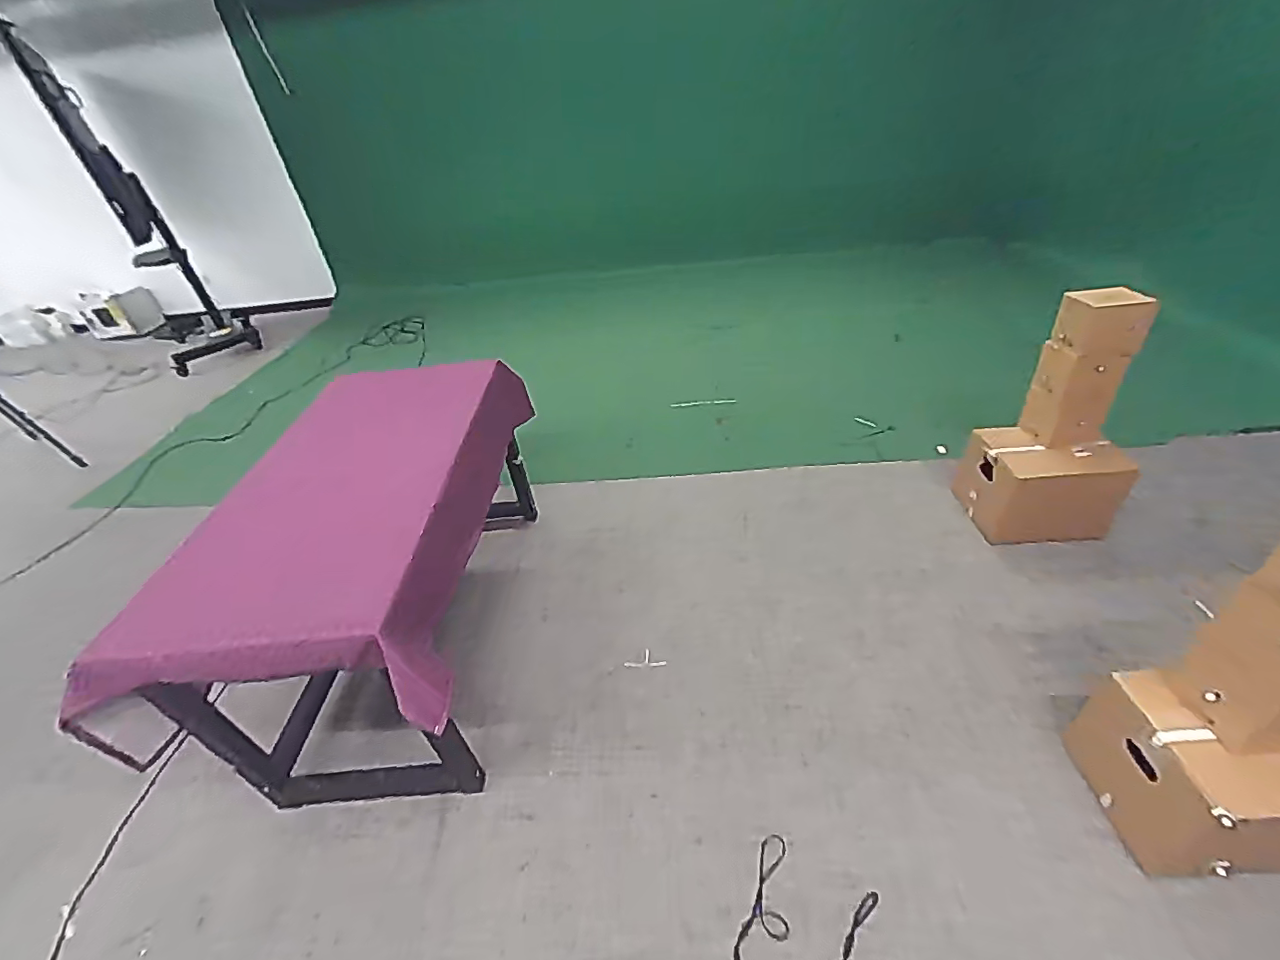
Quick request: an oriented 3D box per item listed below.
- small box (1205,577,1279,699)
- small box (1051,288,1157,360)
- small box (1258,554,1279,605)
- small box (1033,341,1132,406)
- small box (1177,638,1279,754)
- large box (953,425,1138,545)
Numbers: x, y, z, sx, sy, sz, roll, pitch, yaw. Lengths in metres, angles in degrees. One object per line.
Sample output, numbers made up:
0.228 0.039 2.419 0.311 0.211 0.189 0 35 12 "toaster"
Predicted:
1.224 0.292 0.989 0.168 0.176 0.179 -6 35 1 "small box"
1.464 -0.496 1.721 0.179 0.176 0.168 -5 33 6 "small box"
1.213 0.161 0.890 0.179 0.176 0.168 -9 35 -1 "small box"
1.474 -0.363 1.816 0.179 0.176 0.168 -5 34 4 "small box"
1.245 0.426 1.084 0.179 0.176 0.168 -7 35 2 "small box"
1.458 0.017 1.992 0.408 0.320 0.320 -4 36 3 "large box"
